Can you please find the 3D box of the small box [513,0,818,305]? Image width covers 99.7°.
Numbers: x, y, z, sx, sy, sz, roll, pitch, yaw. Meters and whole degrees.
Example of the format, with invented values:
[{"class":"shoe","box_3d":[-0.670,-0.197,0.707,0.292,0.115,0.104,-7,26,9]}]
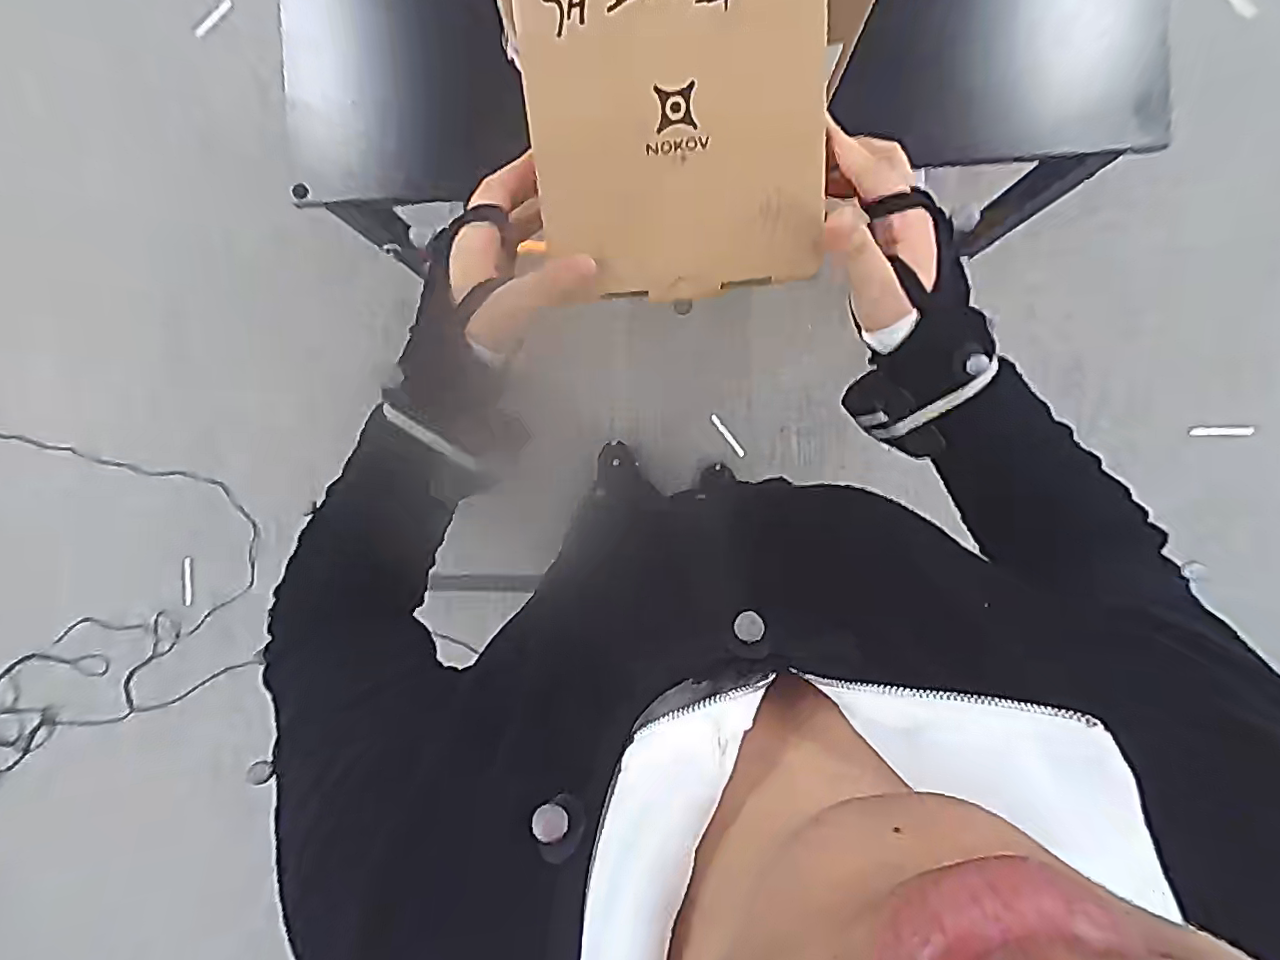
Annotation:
[{"class":"small box","box_3d":[0.026,-0.227,0.385,0.168,0.176,0.179,-5,108,7]}]
